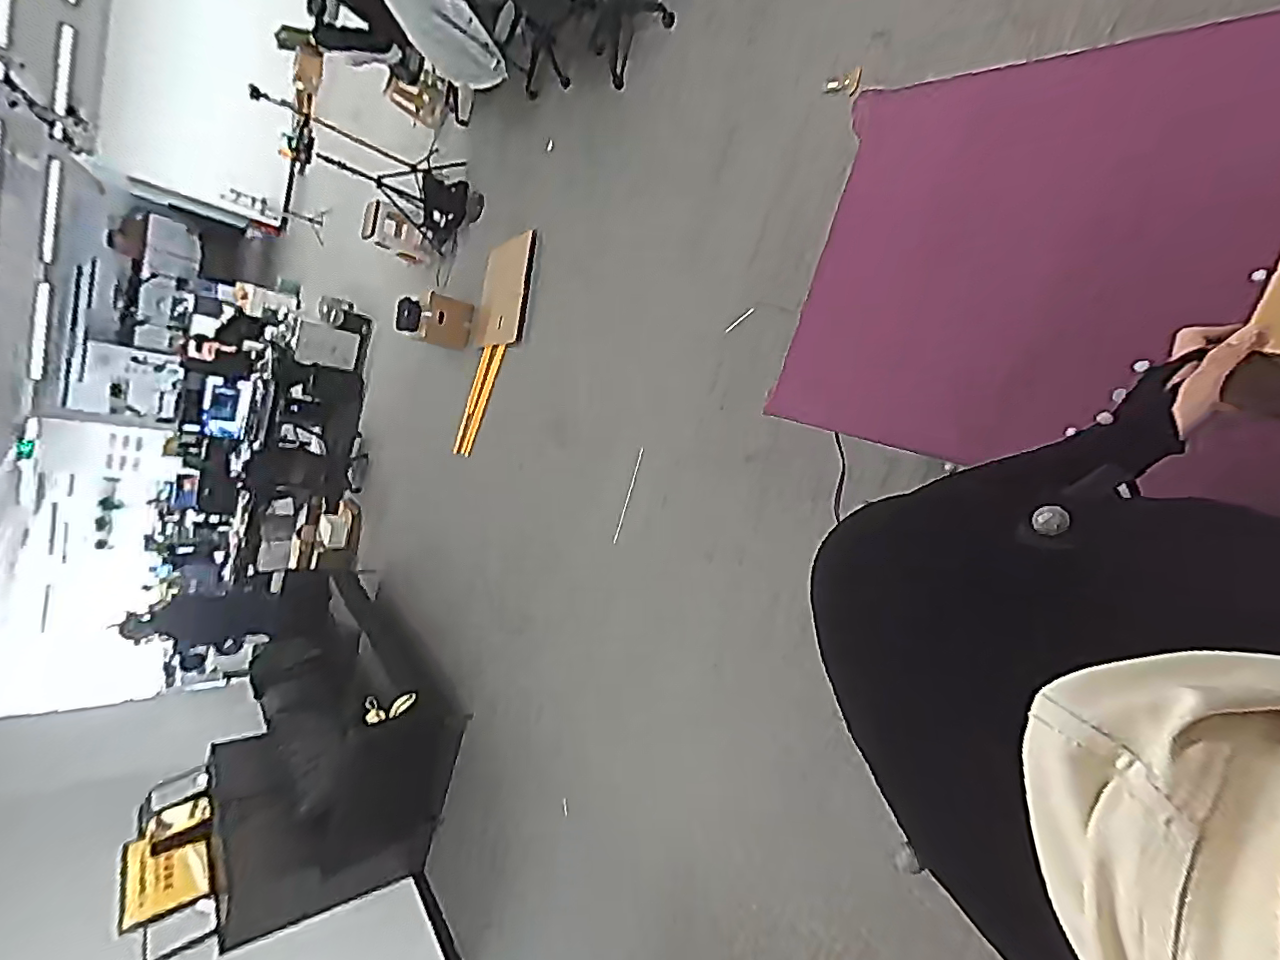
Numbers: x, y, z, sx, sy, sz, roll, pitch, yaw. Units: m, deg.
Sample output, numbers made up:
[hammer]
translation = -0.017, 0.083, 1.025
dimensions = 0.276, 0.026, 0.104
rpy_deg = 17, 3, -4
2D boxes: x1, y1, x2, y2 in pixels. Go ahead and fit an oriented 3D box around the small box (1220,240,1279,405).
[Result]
[small box]
translation = 0.664, -0.165, 0.476
dimensions = 0.168, 0.176, 0.179
rpy_deg = 28, 96, 44
